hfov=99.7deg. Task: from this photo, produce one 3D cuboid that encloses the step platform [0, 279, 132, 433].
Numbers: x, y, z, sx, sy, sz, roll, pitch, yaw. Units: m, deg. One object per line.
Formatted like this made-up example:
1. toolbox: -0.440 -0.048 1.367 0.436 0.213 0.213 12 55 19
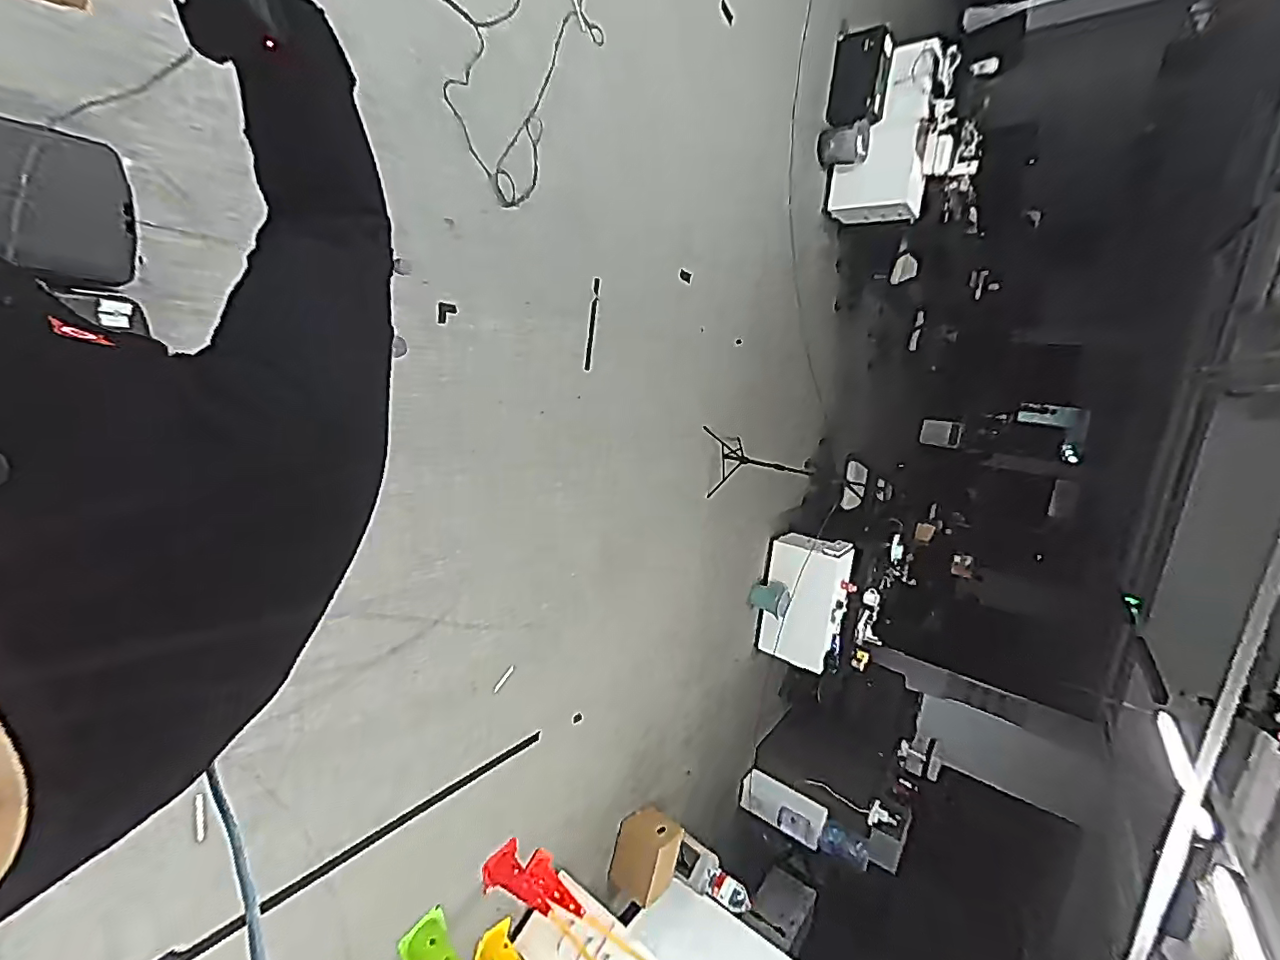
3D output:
1. step platform: -1.323 -0.217 0.909 0.684 0.204 0.286 -11 110 -51
